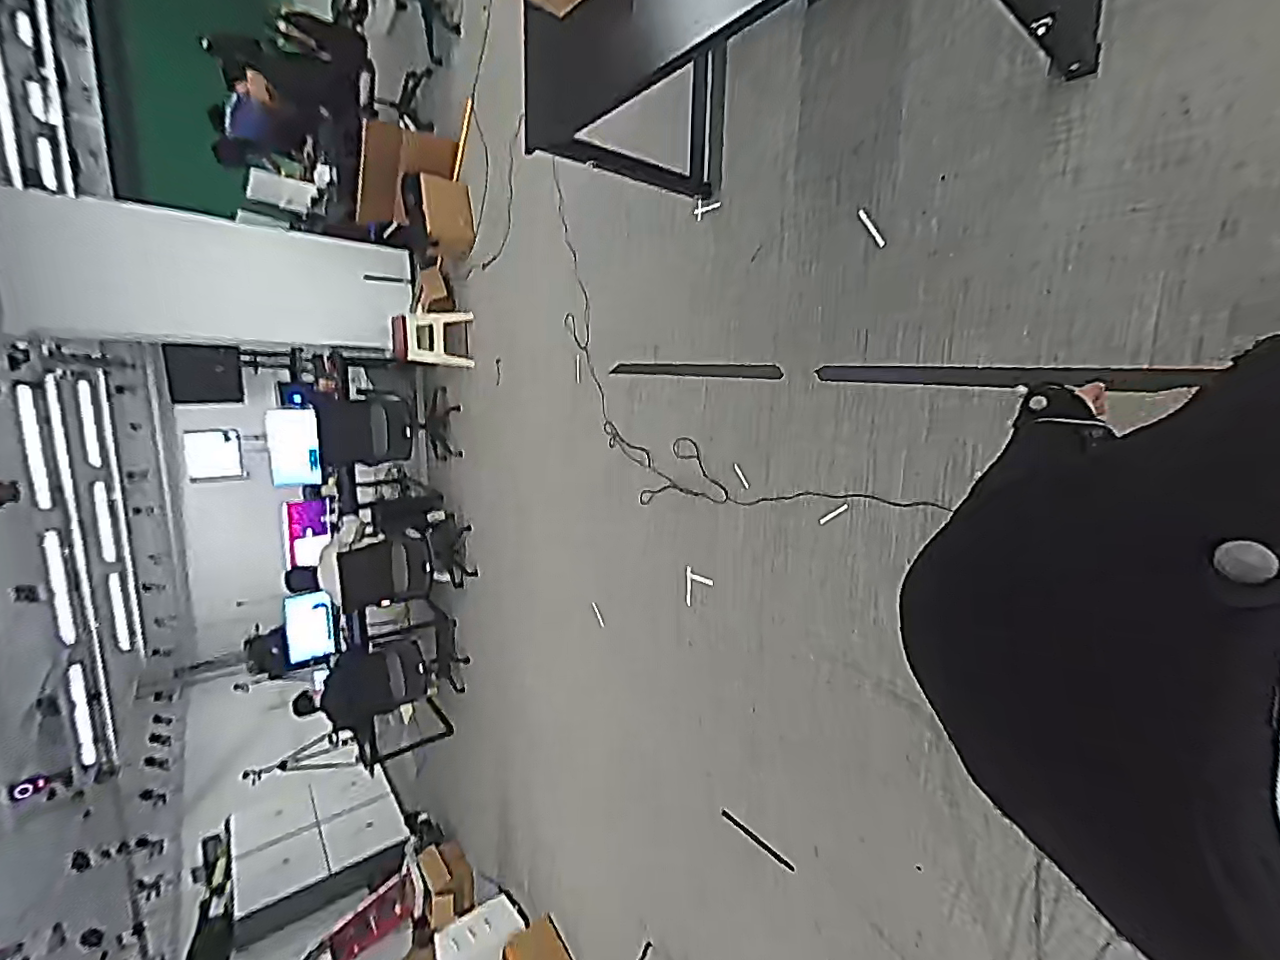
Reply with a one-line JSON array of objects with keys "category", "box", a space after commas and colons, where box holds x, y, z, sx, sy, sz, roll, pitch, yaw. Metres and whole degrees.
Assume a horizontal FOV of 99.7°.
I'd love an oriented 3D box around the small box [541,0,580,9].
[{"category": "small box", "box": [-0.197, -1.267, 1.277, 0.168, 0.176, 0.179, 19, 110, 49]}]
